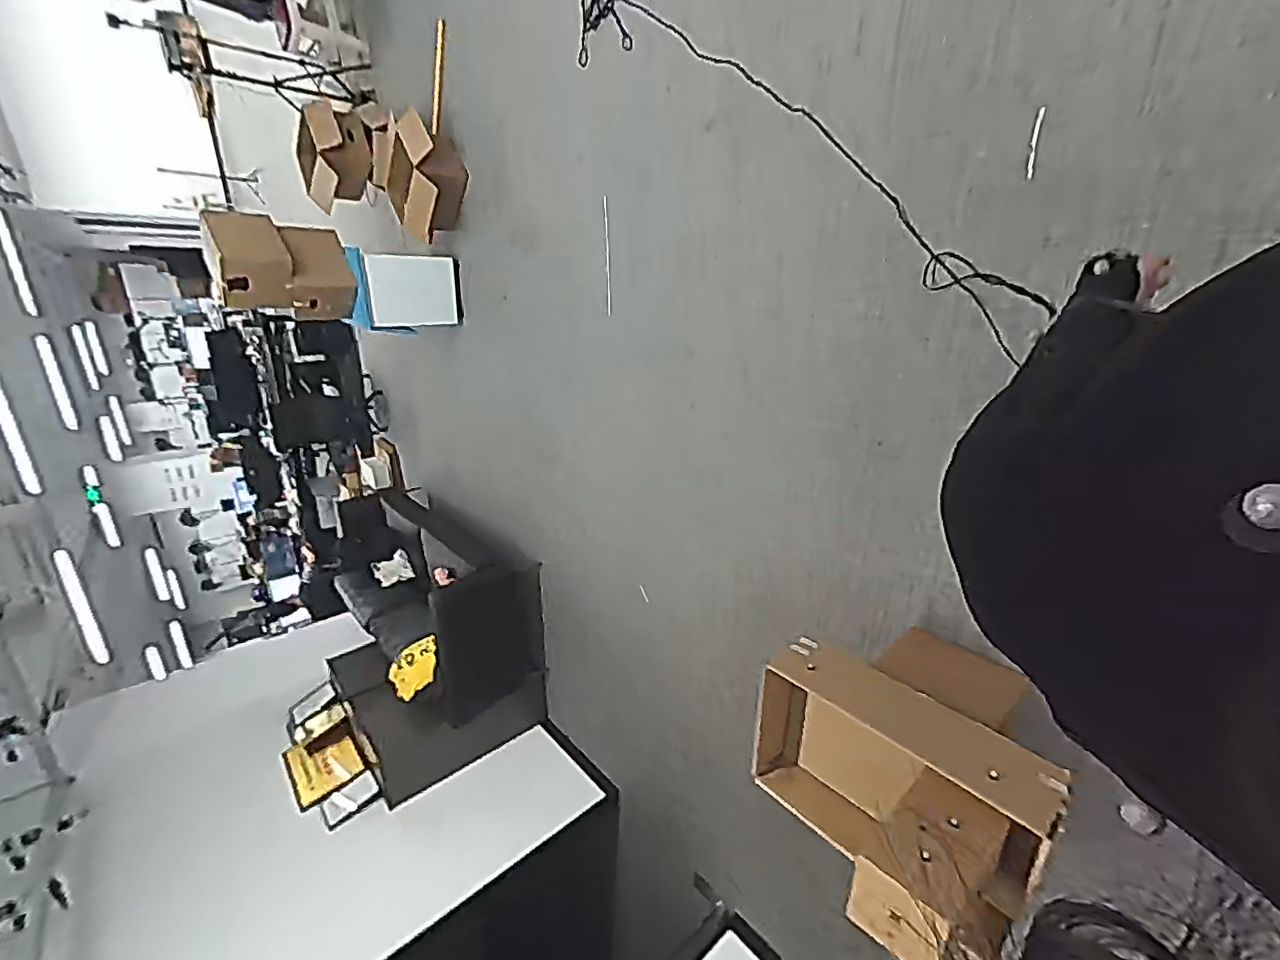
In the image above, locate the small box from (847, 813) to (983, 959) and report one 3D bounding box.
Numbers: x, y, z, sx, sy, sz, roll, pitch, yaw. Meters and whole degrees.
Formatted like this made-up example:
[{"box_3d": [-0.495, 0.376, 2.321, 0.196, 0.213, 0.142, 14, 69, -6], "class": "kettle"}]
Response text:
[{"box_3d": [0.522, 0.787, 1.025, 0.168, 0.176, 0.179, 22, 118, 46], "class": "small box"}]
